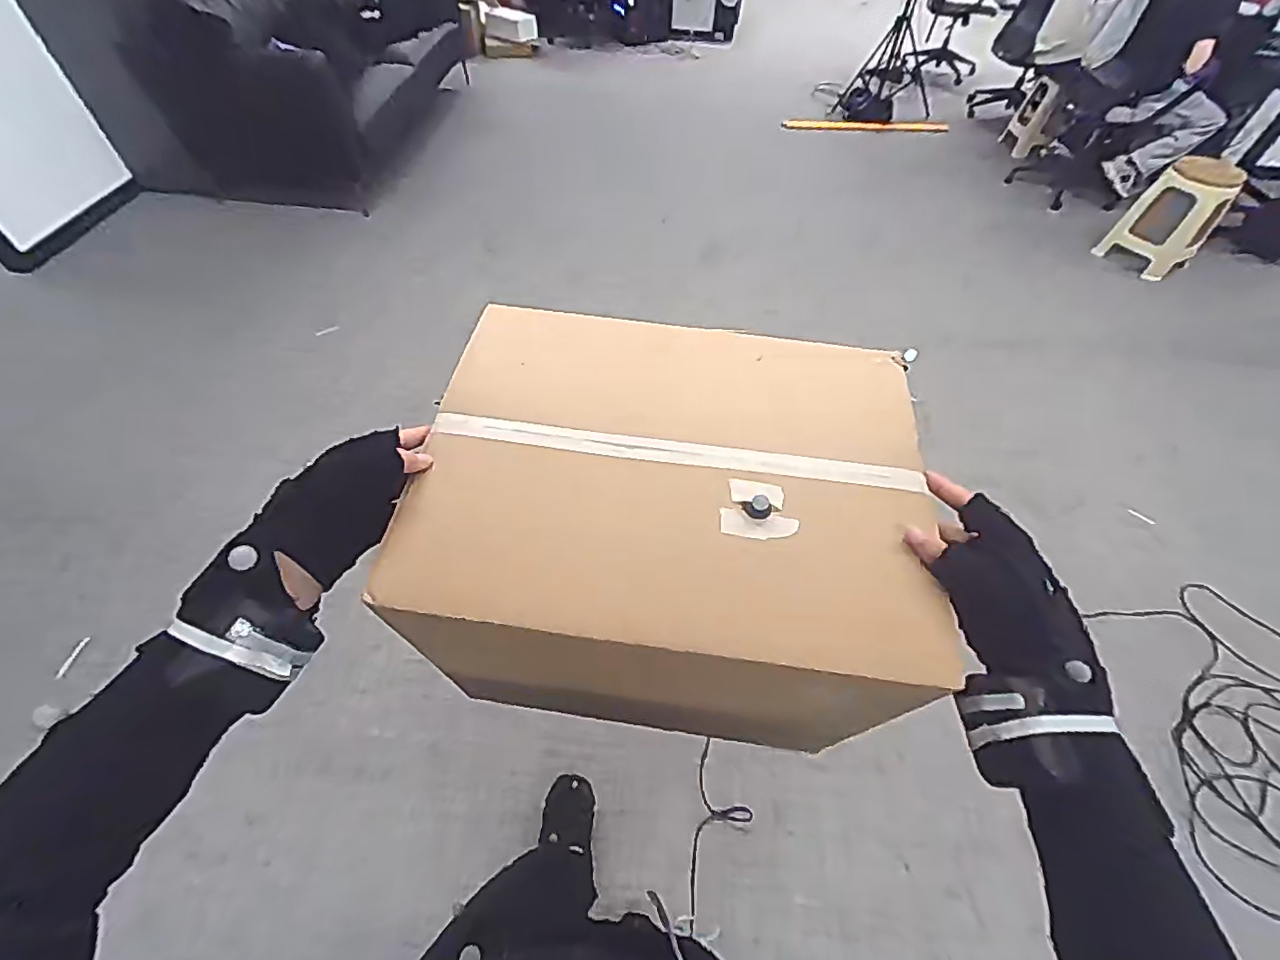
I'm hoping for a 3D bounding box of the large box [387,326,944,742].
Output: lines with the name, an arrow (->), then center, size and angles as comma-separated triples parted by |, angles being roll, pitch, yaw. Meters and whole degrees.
large box -> 0.025, 0.070, 0.583 | 0.408, 0.320, 0.320 | 7, 57, 3
